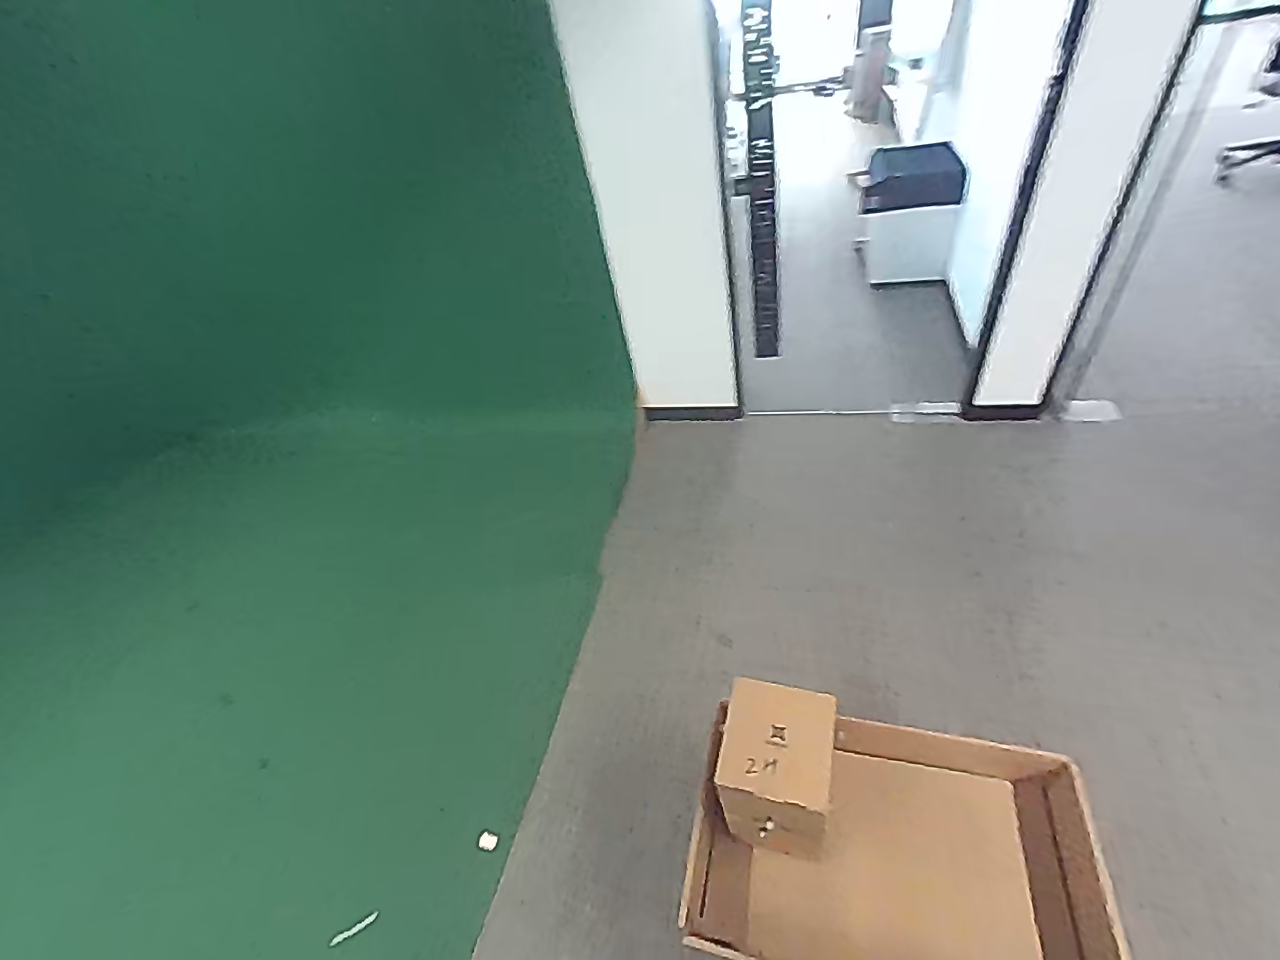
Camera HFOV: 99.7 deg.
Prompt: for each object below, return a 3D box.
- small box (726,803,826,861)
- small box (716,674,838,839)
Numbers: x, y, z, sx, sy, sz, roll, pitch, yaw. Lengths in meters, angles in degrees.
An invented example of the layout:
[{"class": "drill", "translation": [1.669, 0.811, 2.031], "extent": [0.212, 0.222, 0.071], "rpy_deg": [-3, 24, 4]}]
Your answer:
[{"class": "small box", "translation": [0.261, 0.574, 1.012], "extent": [0.168, 0.176, 0.179], "rpy_deg": [5, 46, 19]}, {"class": "small box", "translation": [0.231, 0.458, 0.900], "extent": [0.168, 0.176, 0.179], "rpy_deg": [6, 47, 21]}]
